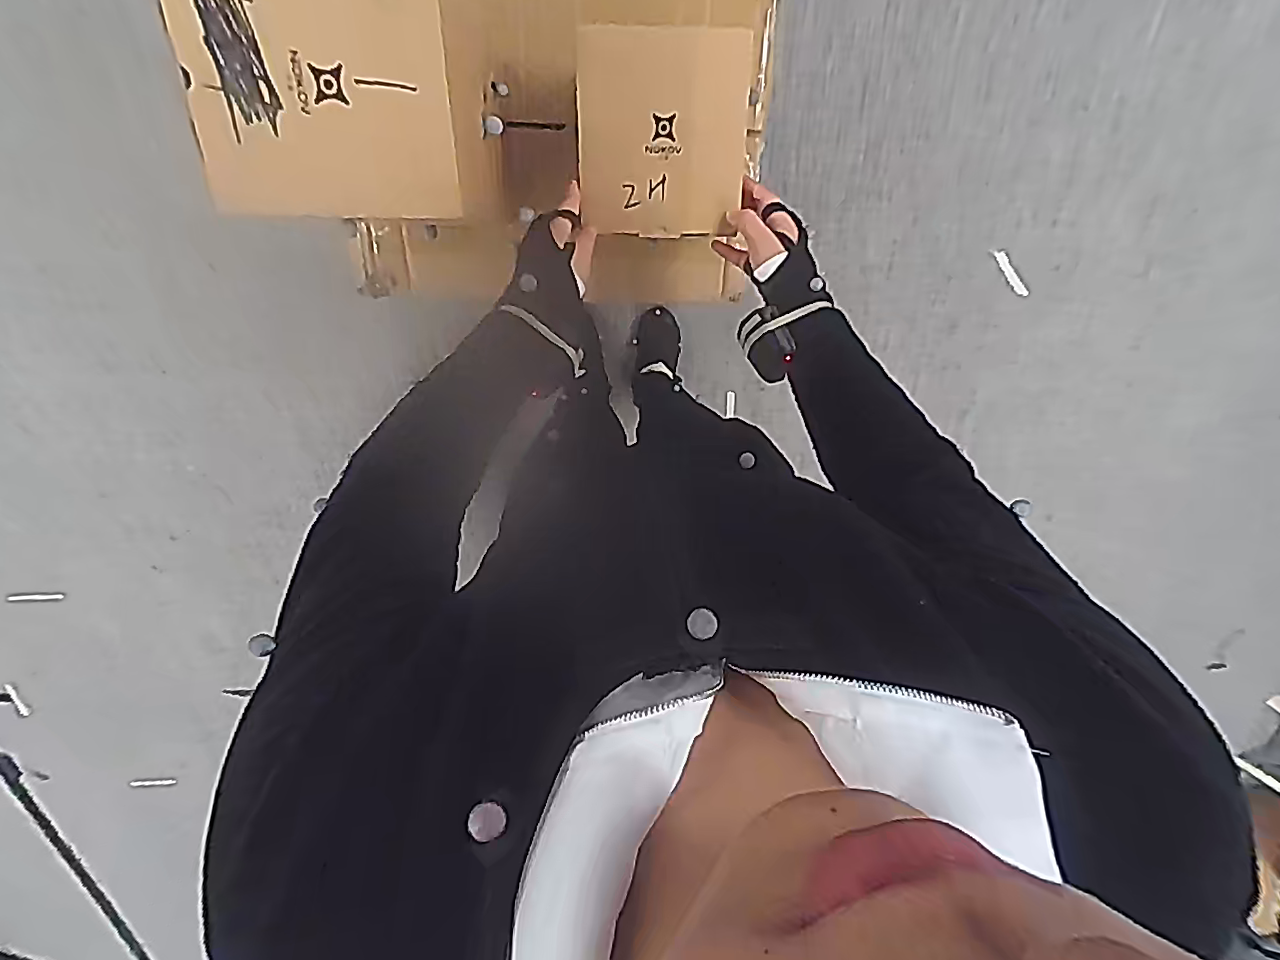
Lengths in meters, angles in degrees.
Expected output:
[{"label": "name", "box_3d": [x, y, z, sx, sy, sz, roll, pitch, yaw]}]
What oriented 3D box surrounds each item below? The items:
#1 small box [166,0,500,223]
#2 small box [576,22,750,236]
[{"label": "small box", "box_3d": [-0.222, -0.303, 0.439, 0.179, 0.176, 0.168, -1, 115, -4]}, {"label": "small box", "box_3d": [0.017, -0.370, 0.602, 0.168, 0.176, 0.179, 0, 115, -2]}]
